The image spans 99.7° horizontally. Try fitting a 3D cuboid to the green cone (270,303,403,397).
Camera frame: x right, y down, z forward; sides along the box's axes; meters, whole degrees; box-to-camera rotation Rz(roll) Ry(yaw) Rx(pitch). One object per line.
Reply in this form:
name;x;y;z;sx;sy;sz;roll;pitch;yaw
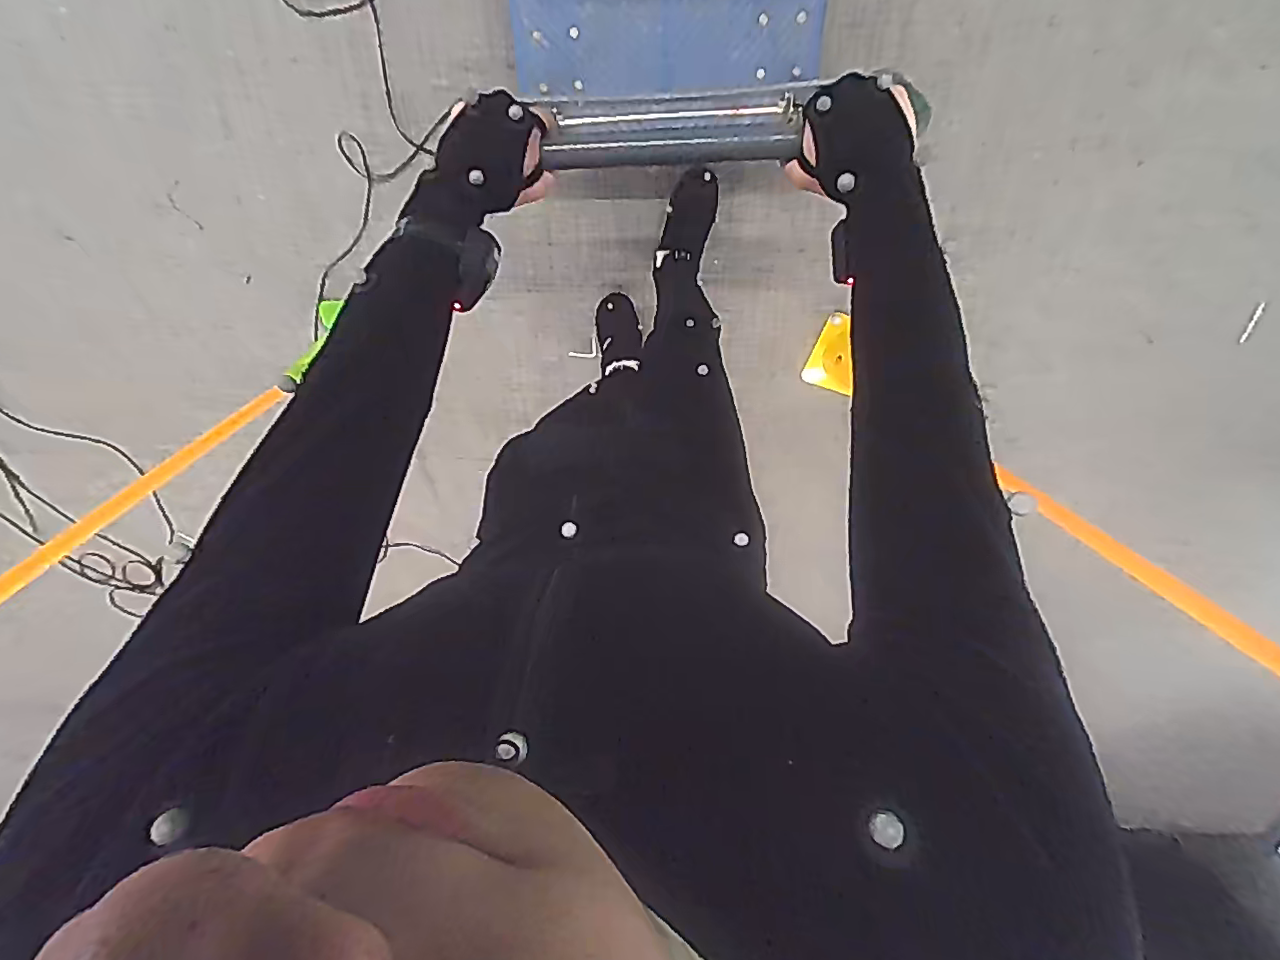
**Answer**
green cone;-0.772;-0.292;1.328;0.202;0.368;0.200;-2;120;4
